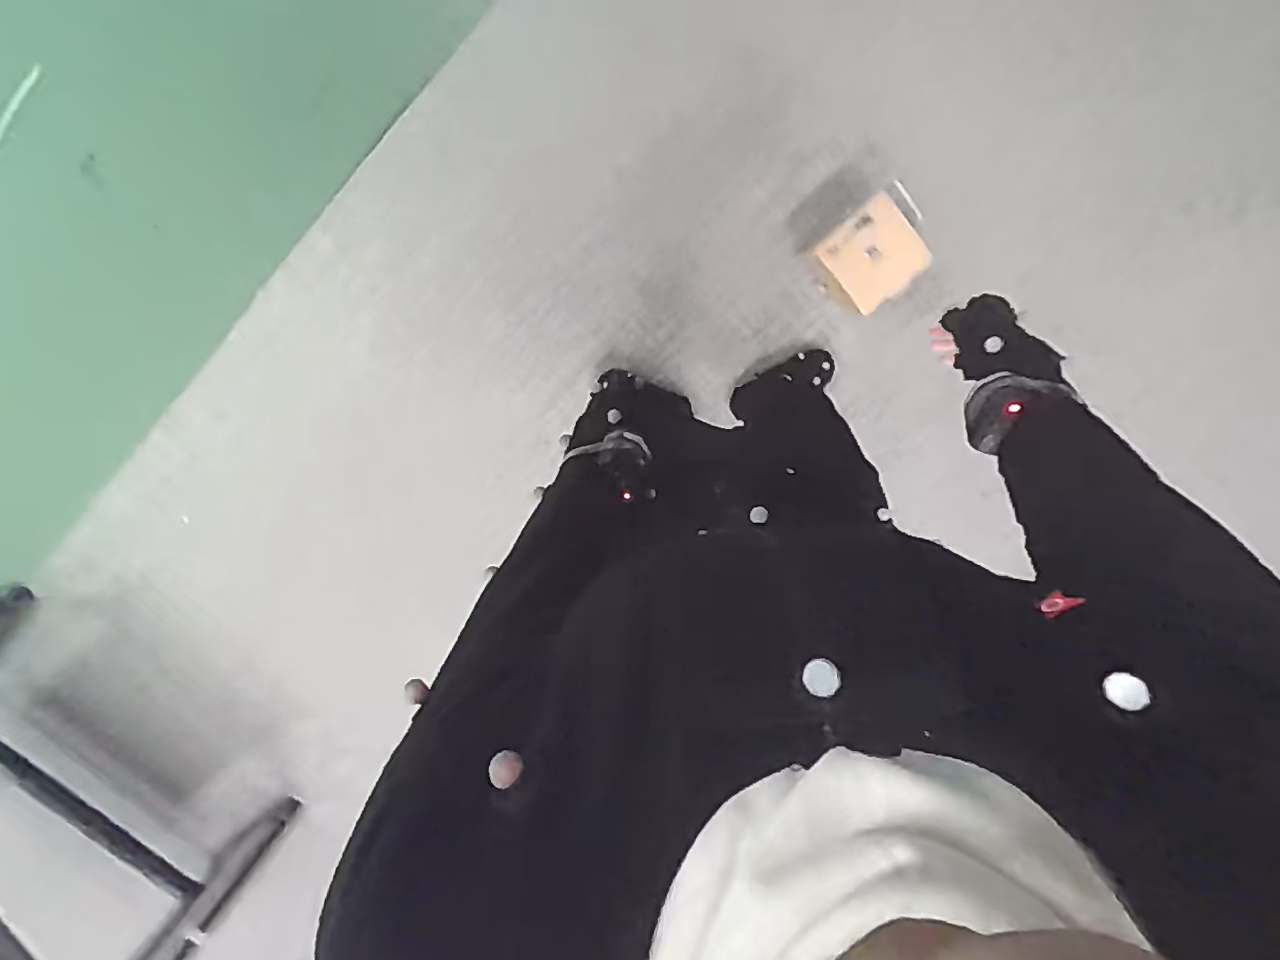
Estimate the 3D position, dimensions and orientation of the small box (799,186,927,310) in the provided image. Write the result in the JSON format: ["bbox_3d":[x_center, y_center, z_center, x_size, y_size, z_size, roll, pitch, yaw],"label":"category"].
[{"bbox_3d":[0.470,-0.492,1.162,0.168,0.176,0.179,-39,102,16],"label":"small box"}]
